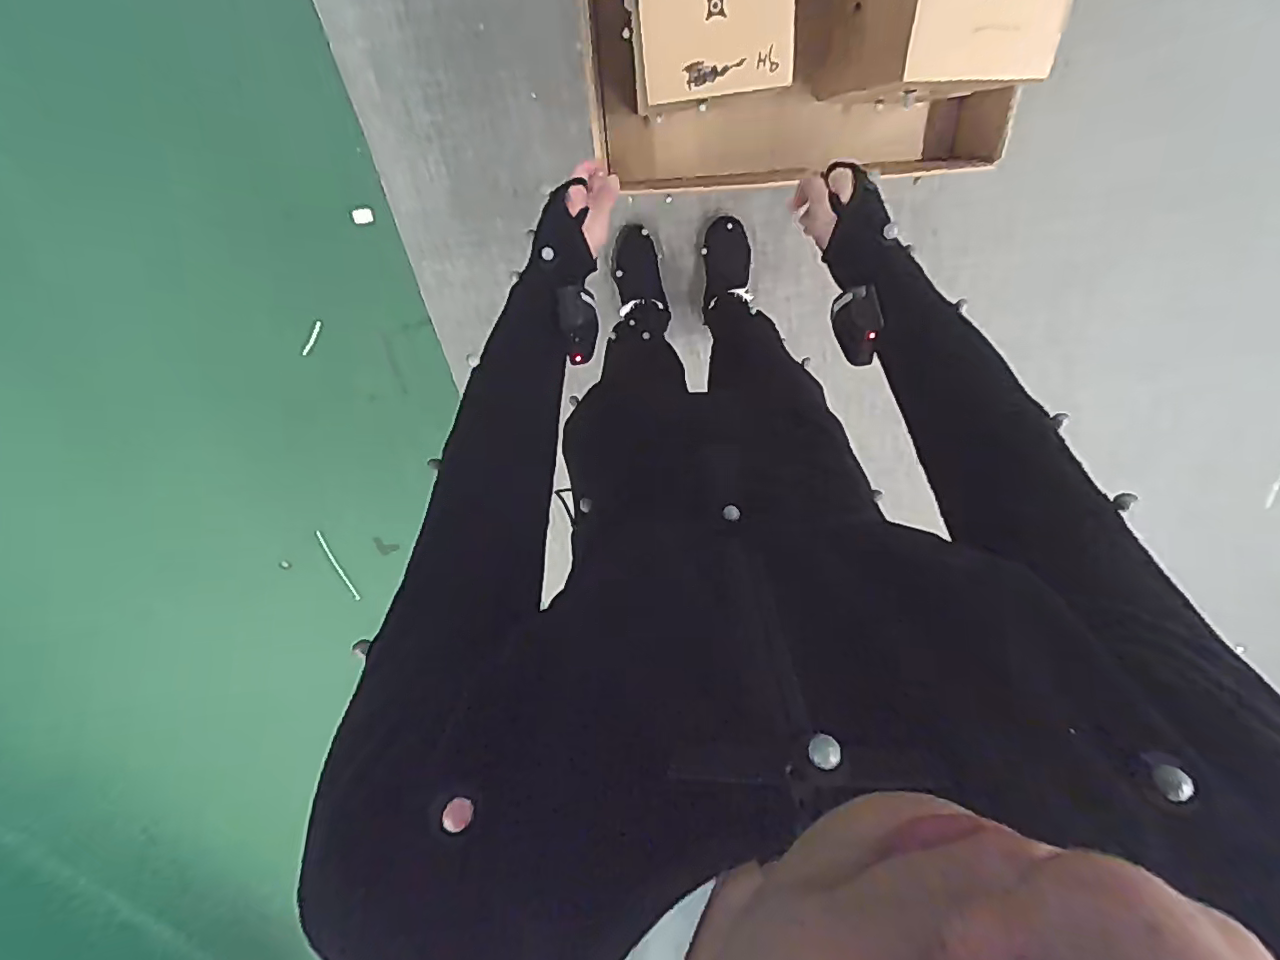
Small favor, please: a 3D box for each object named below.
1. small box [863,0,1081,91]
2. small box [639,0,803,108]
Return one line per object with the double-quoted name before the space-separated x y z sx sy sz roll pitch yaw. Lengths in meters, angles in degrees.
"small box" 0.376 -0.562 0.617 0.168 0.176 0.179 0 122 0
"small box" 0.084 -0.548 0.620 0.168 0.176 0.179 -6 121 3
